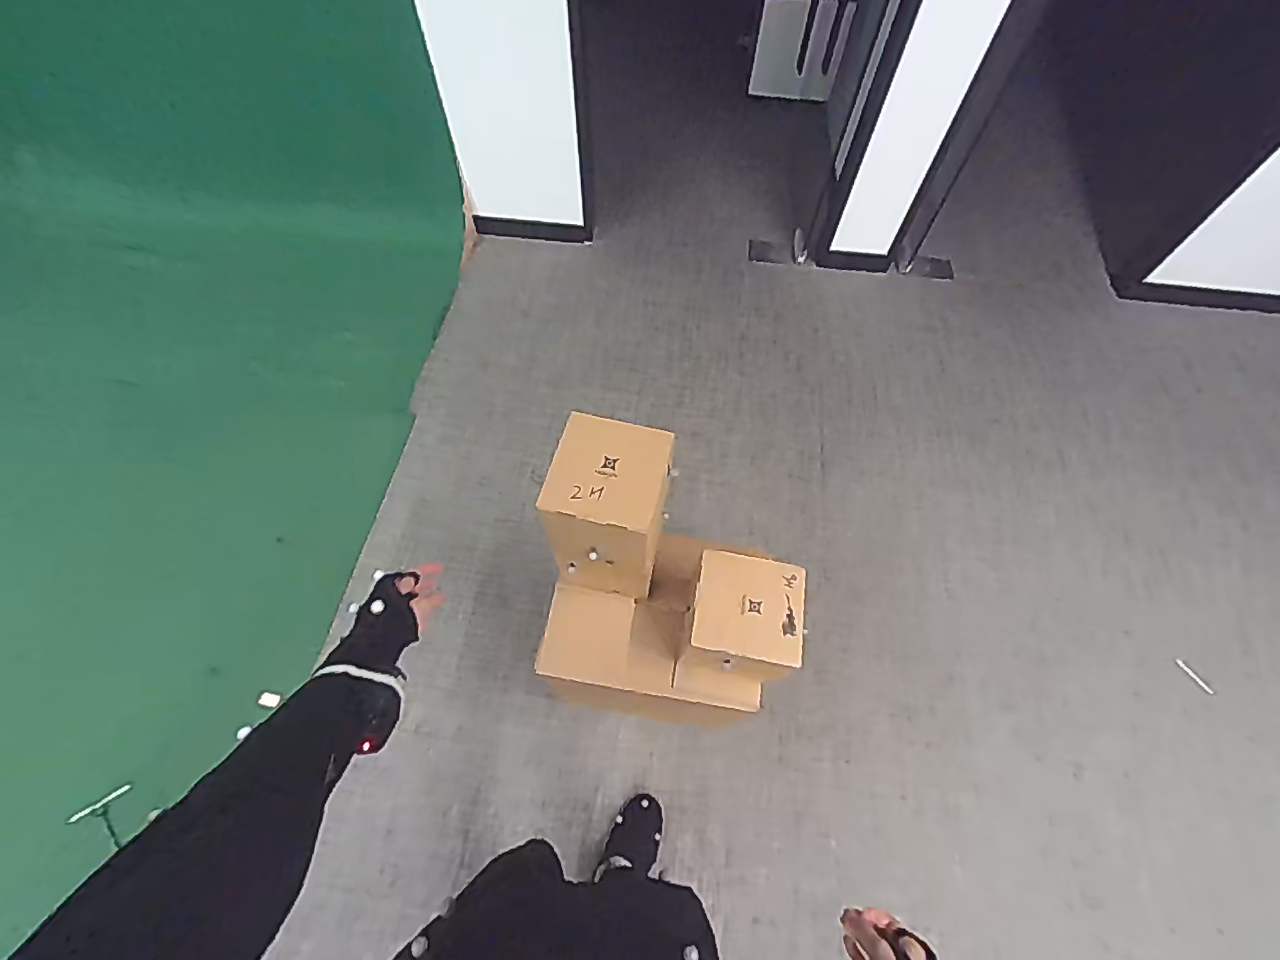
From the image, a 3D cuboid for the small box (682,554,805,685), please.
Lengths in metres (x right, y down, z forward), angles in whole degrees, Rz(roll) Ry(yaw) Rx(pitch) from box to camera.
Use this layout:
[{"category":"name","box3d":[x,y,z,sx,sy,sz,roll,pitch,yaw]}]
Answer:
[{"category":"small box","box3d":[0.171,0.245,0.931,0.179,0.176,0.168,10,63,5]}]

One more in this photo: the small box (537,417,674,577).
[{"category":"small box","box3d":[-0.048,0.031,0.863,0.168,0.176,0.179,13,61,7]}]
